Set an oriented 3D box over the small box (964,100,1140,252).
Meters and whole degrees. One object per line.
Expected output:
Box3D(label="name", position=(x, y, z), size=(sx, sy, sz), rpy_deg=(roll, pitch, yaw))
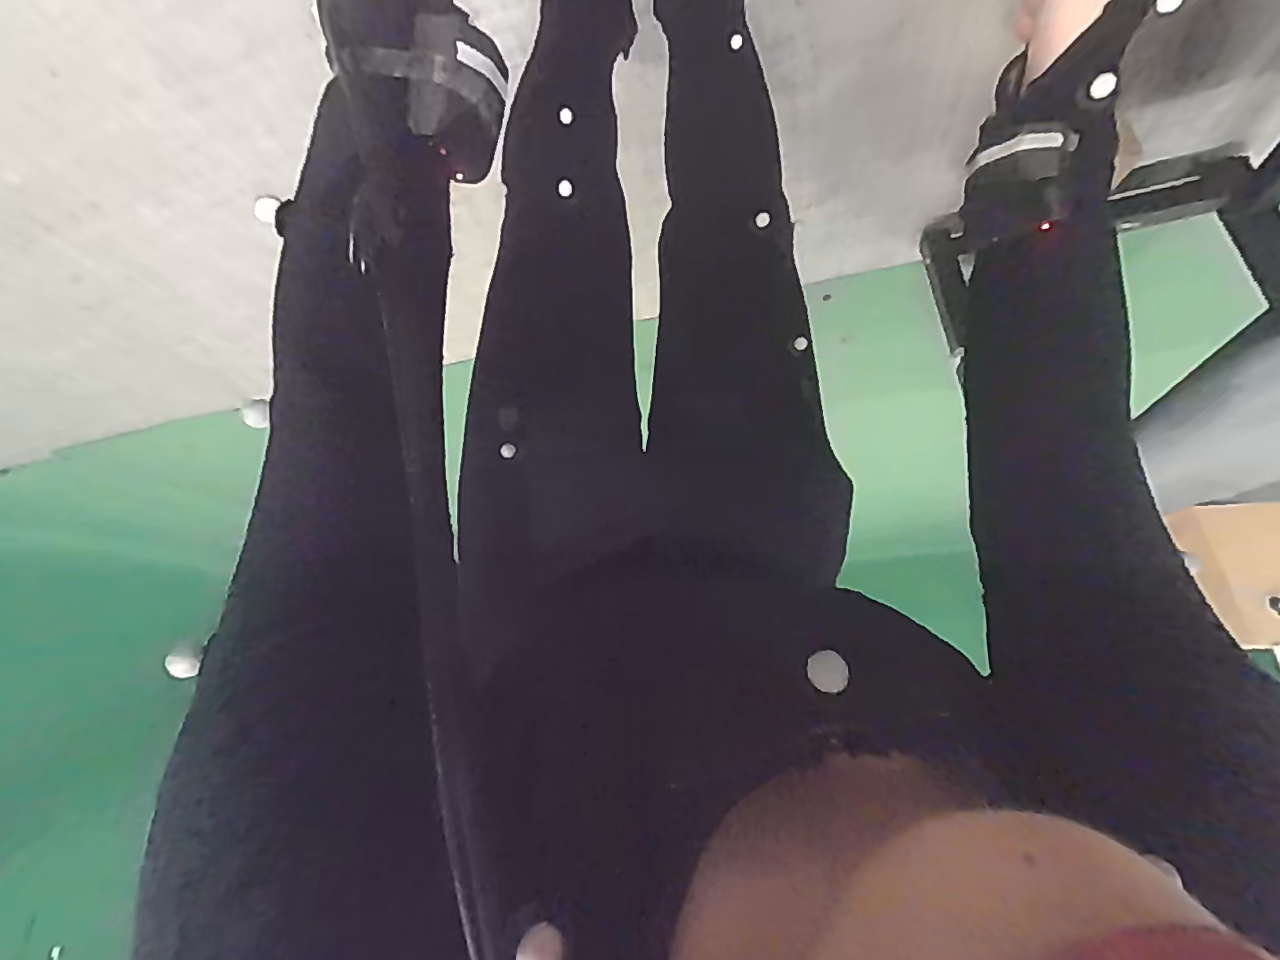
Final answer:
Box3D(label="small box", position=(0.710, -0.539, 0.960), size=(0.168, 0.176, 0.179), rpy_deg=(-3, 160, 3))
